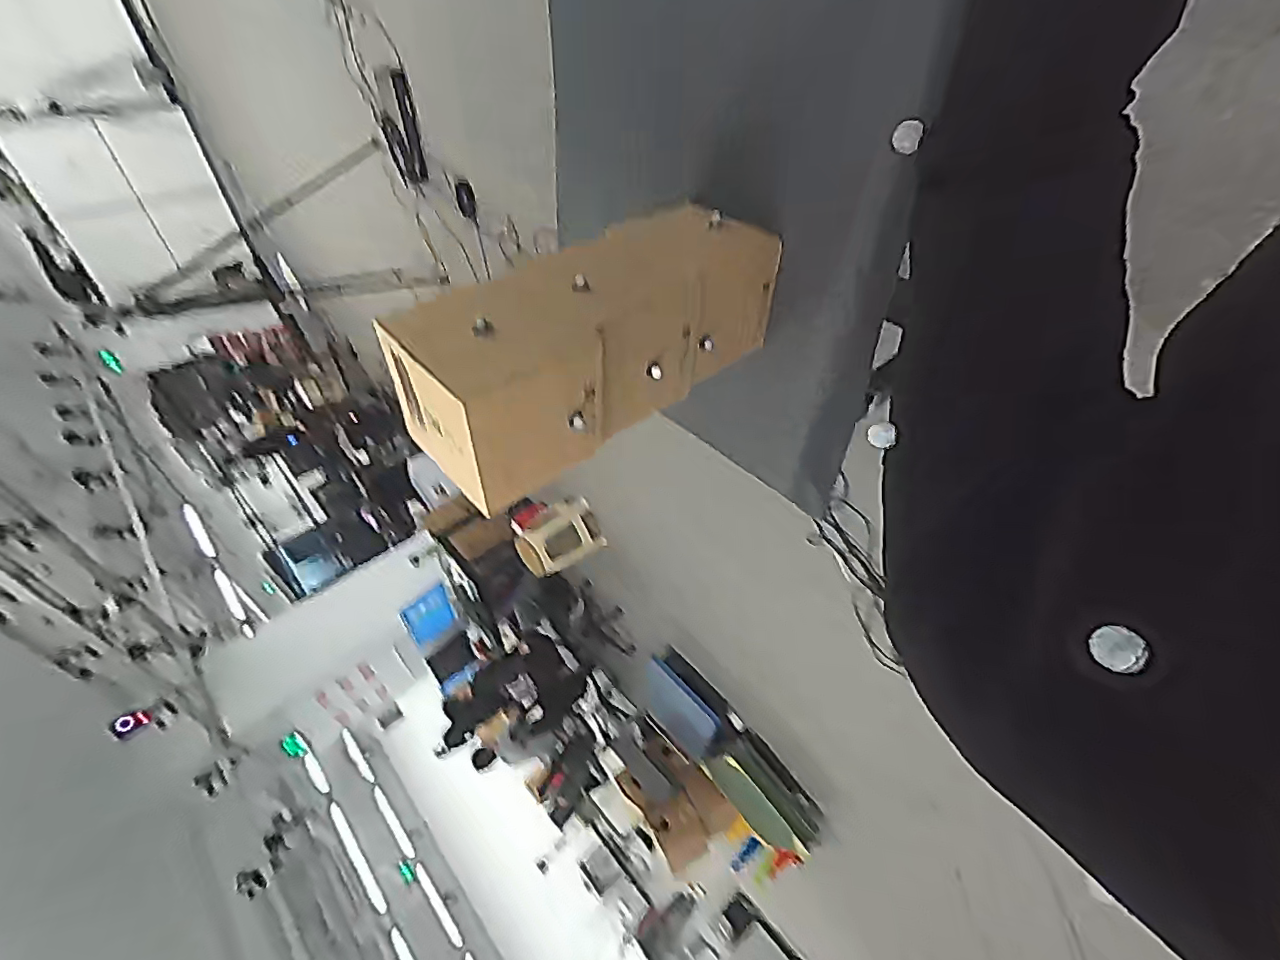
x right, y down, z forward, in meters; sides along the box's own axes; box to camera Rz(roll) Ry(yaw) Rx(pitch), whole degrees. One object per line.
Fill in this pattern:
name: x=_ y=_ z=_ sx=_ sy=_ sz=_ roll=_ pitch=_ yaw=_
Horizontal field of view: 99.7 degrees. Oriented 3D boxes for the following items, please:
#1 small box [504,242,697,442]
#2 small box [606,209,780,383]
small box: x=-0.046 y=-0.186 z=0.696 sx=0.179 sy=0.176 sz=0.168 roll=38 pitch=145 yaw=30
small box: x=0.069 y=-0.272 z=0.777 sx=0.179 sy=0.176 sz=0.168 roll=38 pitch=145 yaw=31
